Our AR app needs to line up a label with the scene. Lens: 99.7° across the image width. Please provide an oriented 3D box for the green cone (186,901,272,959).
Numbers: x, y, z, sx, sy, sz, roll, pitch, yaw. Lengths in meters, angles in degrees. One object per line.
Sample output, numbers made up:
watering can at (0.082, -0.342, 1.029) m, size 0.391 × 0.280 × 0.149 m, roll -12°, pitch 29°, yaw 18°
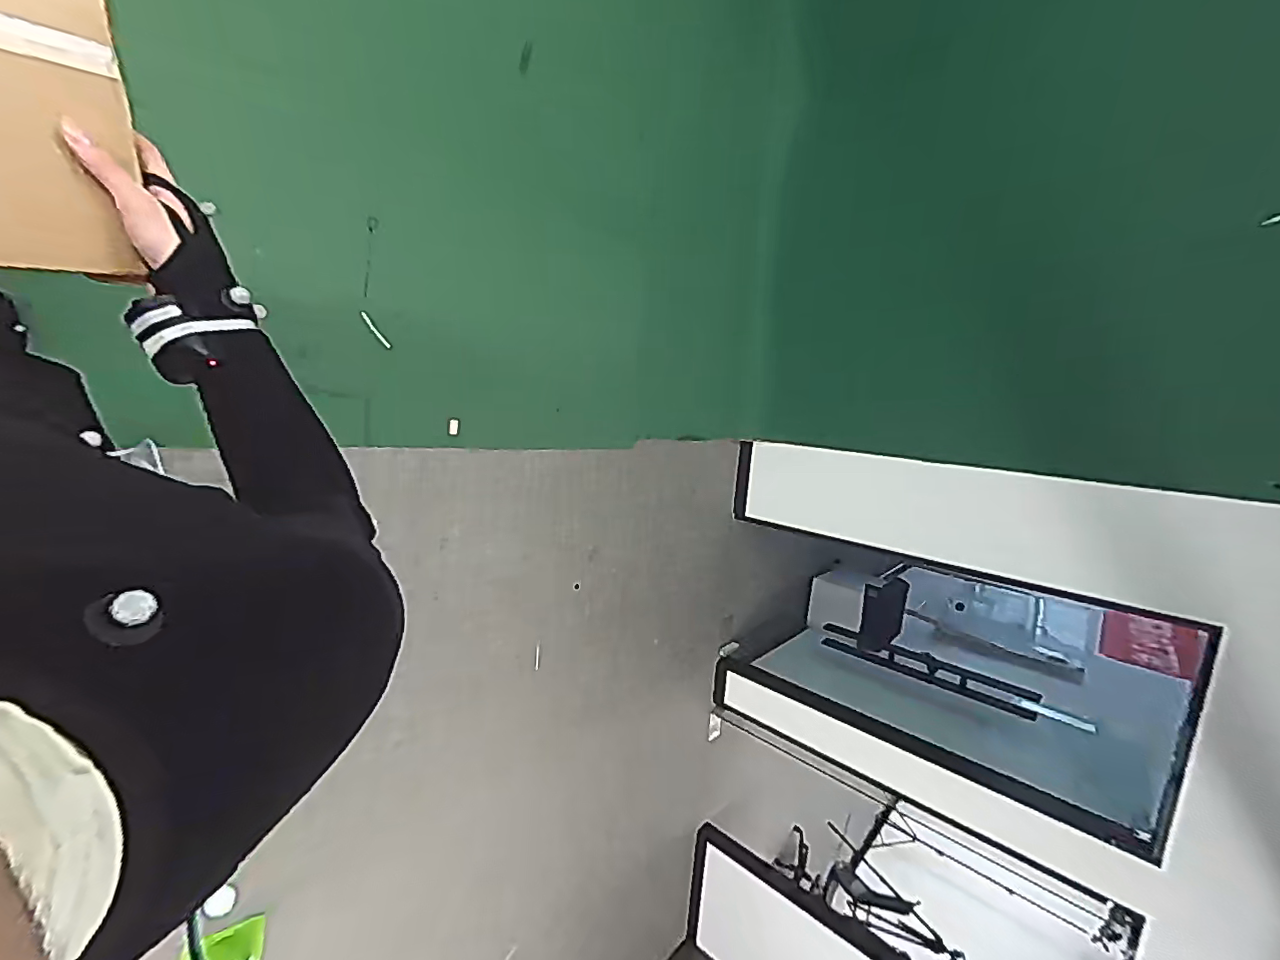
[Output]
green cone at (-1.061, 1.380, 1.451) m, size 0.200 × 0.368 × 0.202 m, roll 4°, pitch 95°, yaw -50°
